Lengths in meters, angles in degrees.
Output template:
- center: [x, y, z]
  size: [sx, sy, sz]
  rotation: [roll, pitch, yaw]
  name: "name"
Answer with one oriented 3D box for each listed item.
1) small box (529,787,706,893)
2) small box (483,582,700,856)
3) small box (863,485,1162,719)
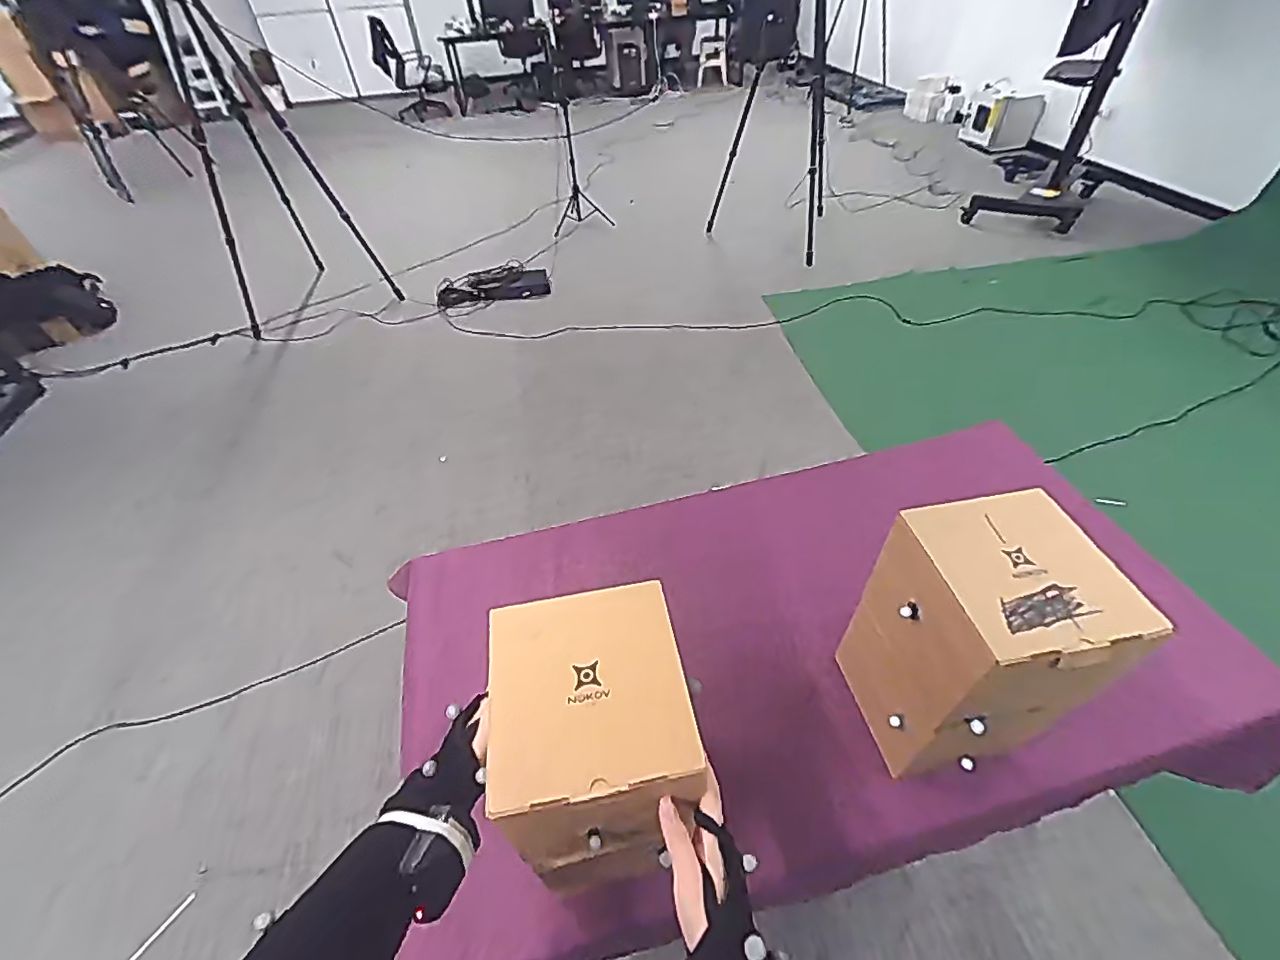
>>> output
- center: [-0.031, 0.352, 0.630]
  size: [0.179, 0.176, 0.168]
  rotation: [-11, 45, -6]
  name: "small box"
- center: [-0.046, 0.226, 0.516]
  size: [0.168, 0.176, 0.179]
  rotation: [-10, 46, -6]
  name: "small box"
- center: [0.365, 0.134, 0.575]
  size: [0.168, 0.176, 0.179]
  rotation: [-9, 45, -4]
  name: "small box"
